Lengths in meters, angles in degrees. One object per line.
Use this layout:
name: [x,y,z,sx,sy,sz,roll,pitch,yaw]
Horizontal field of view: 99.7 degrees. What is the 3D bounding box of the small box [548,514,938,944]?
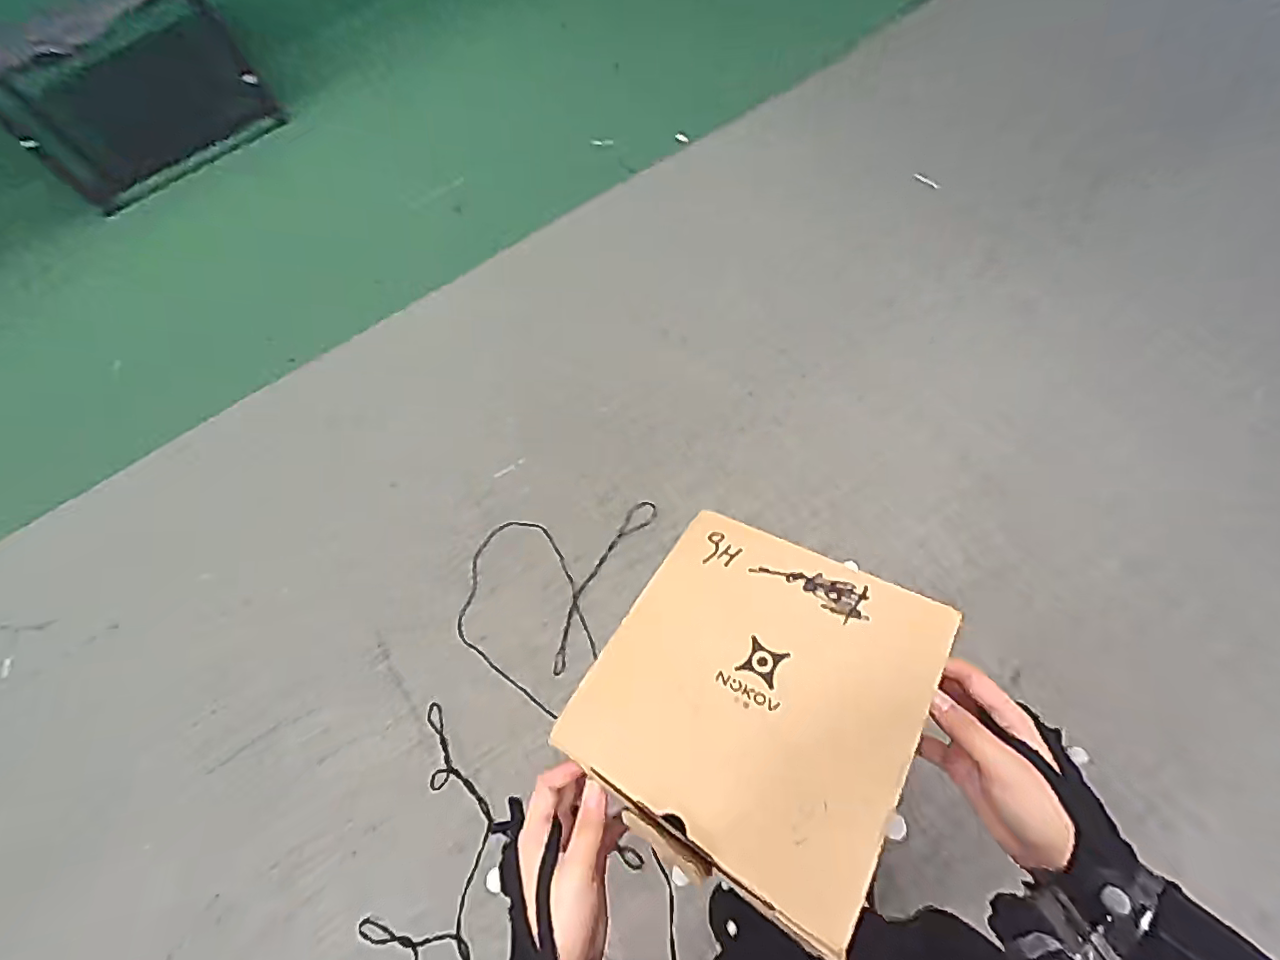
small box: [0.074,0.160,0.366,0.168,0.176,0.179,22,60,28]
